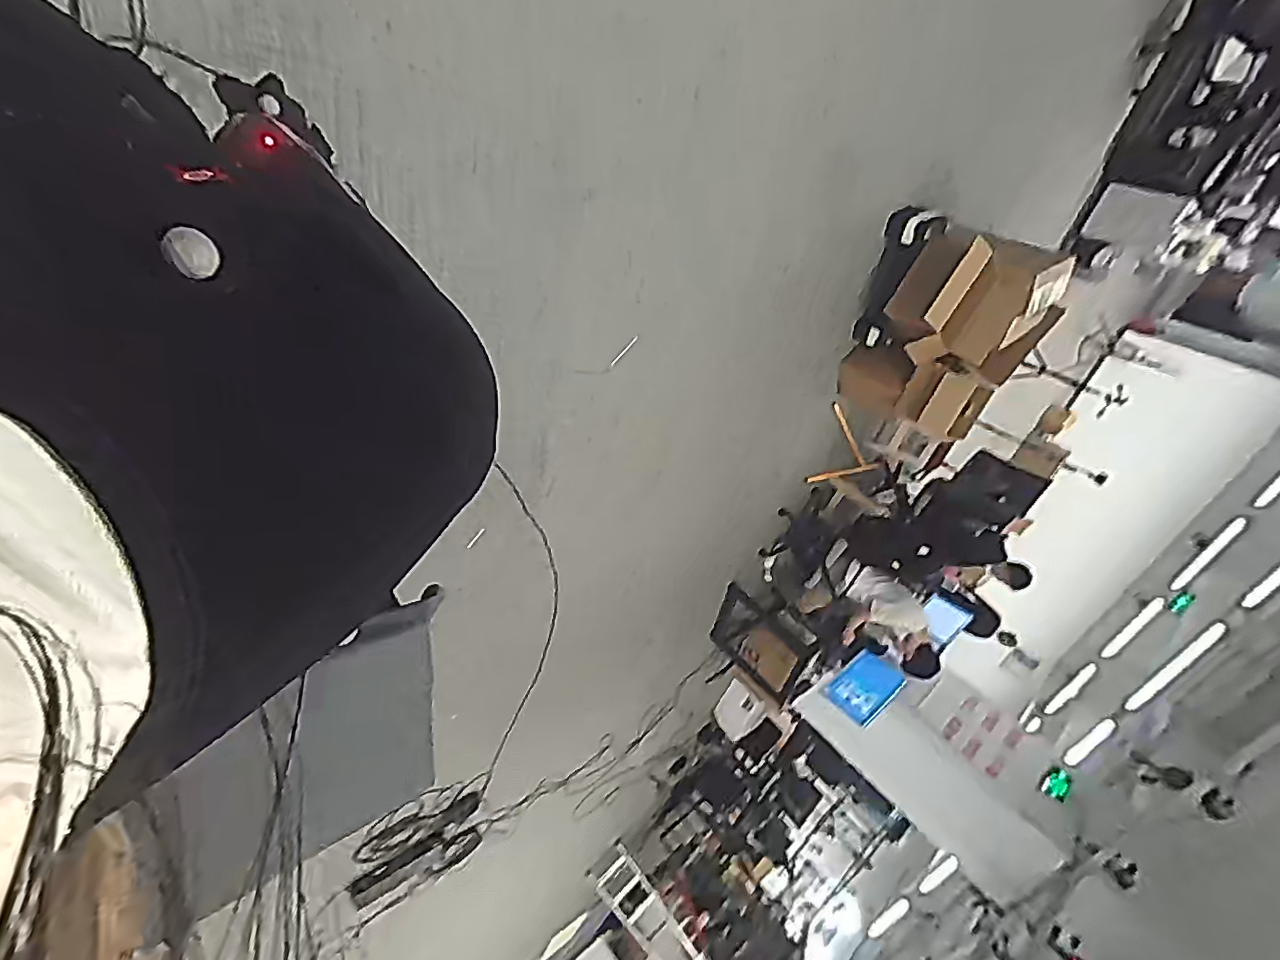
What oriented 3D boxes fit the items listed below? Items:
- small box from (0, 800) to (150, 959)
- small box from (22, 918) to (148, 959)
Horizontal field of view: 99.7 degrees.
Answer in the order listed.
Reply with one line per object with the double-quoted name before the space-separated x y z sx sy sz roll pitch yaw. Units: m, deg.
"small box" -0.790 0.573 0.714 0.179 0.176 0.168 -15 132 -39
"small box" -0.687 0.661 0.623 0.168 0.176 0.179 -18 133 -39
